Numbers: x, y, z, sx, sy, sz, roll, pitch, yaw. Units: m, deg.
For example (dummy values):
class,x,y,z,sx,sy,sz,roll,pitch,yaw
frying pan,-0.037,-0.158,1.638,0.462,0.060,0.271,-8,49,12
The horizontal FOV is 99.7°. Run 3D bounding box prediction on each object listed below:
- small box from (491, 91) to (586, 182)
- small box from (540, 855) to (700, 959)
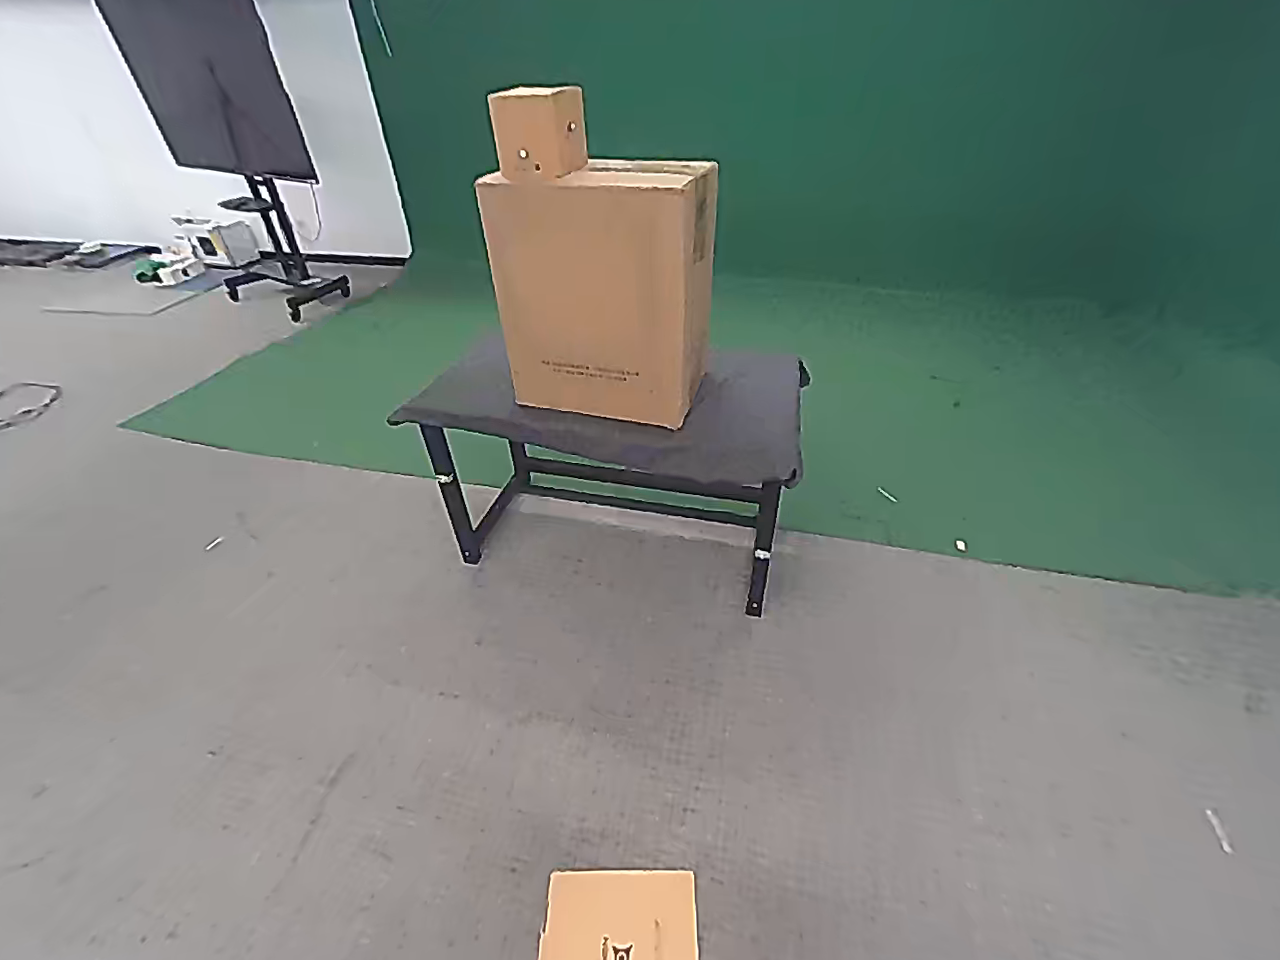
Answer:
class,x,y,z,sx,sy,sz,roll,pitch,yaw
small box,-0.242,-0.857,1.347,0.168,0.176,0.179,9,42,16
small box,-0.018,0.572,0.640,0.179,0.176,0.168,-2,36,1
